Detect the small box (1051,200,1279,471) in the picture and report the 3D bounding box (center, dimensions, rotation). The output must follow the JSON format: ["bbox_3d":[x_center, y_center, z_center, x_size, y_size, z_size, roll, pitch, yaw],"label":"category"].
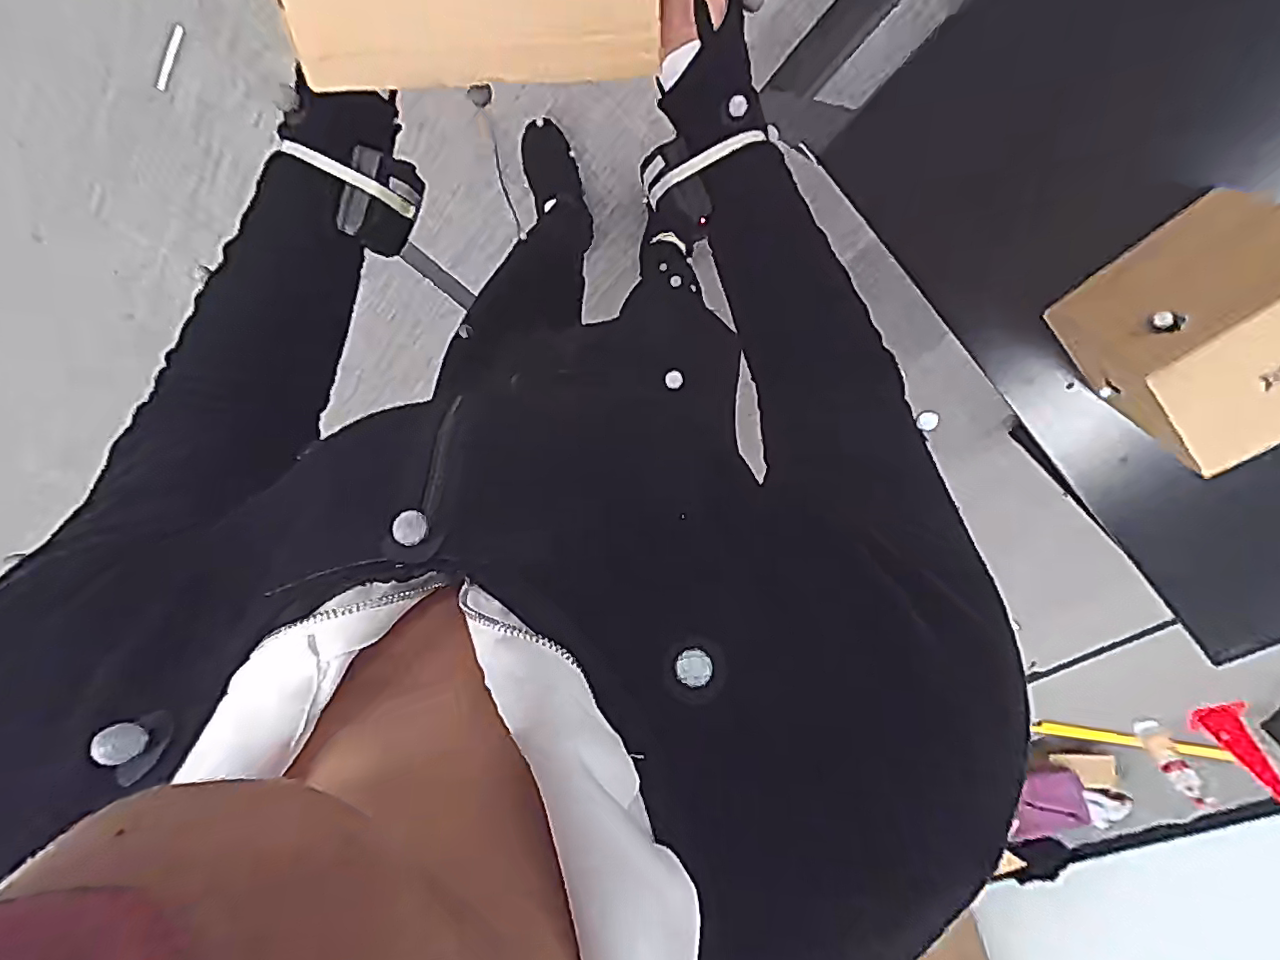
[{"bbox_3d":[0.572,-0.149,0.555,0.168,0.176,0.179,36,120,-23],"label":"small box"}]

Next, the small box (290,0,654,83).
[{"bbox_3d":[-0.081,-0.318,0.284,0.179,0.176,0.168,-2,132,1],"label":"small box"}]
